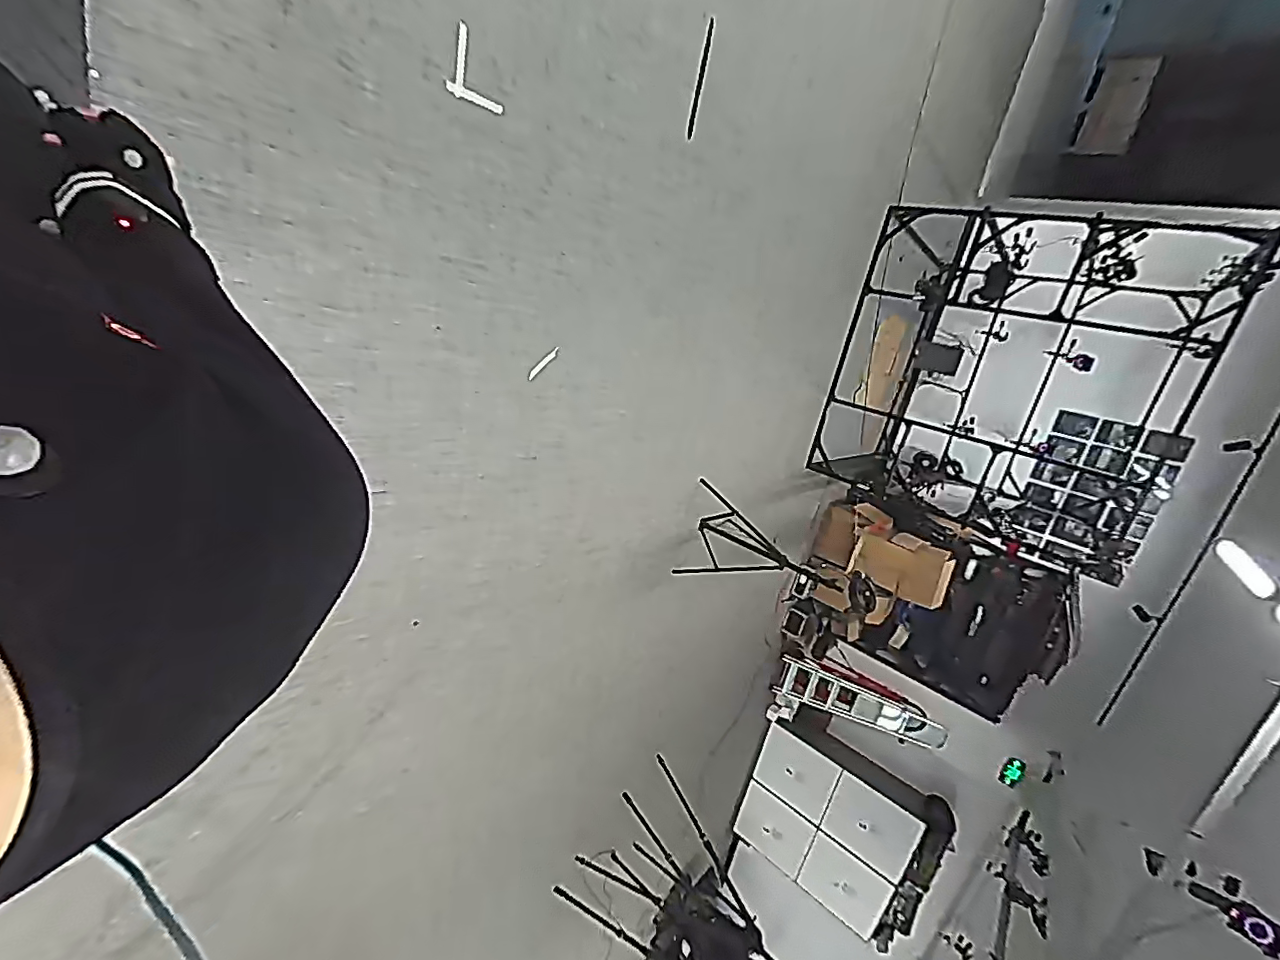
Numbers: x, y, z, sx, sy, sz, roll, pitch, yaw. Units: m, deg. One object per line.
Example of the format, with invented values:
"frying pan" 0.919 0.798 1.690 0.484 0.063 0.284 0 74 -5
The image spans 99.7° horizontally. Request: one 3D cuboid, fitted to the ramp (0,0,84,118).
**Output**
"ramp" -0.961 -1.030 0.574 0.509 0.206 0.991 -13 121 -51
